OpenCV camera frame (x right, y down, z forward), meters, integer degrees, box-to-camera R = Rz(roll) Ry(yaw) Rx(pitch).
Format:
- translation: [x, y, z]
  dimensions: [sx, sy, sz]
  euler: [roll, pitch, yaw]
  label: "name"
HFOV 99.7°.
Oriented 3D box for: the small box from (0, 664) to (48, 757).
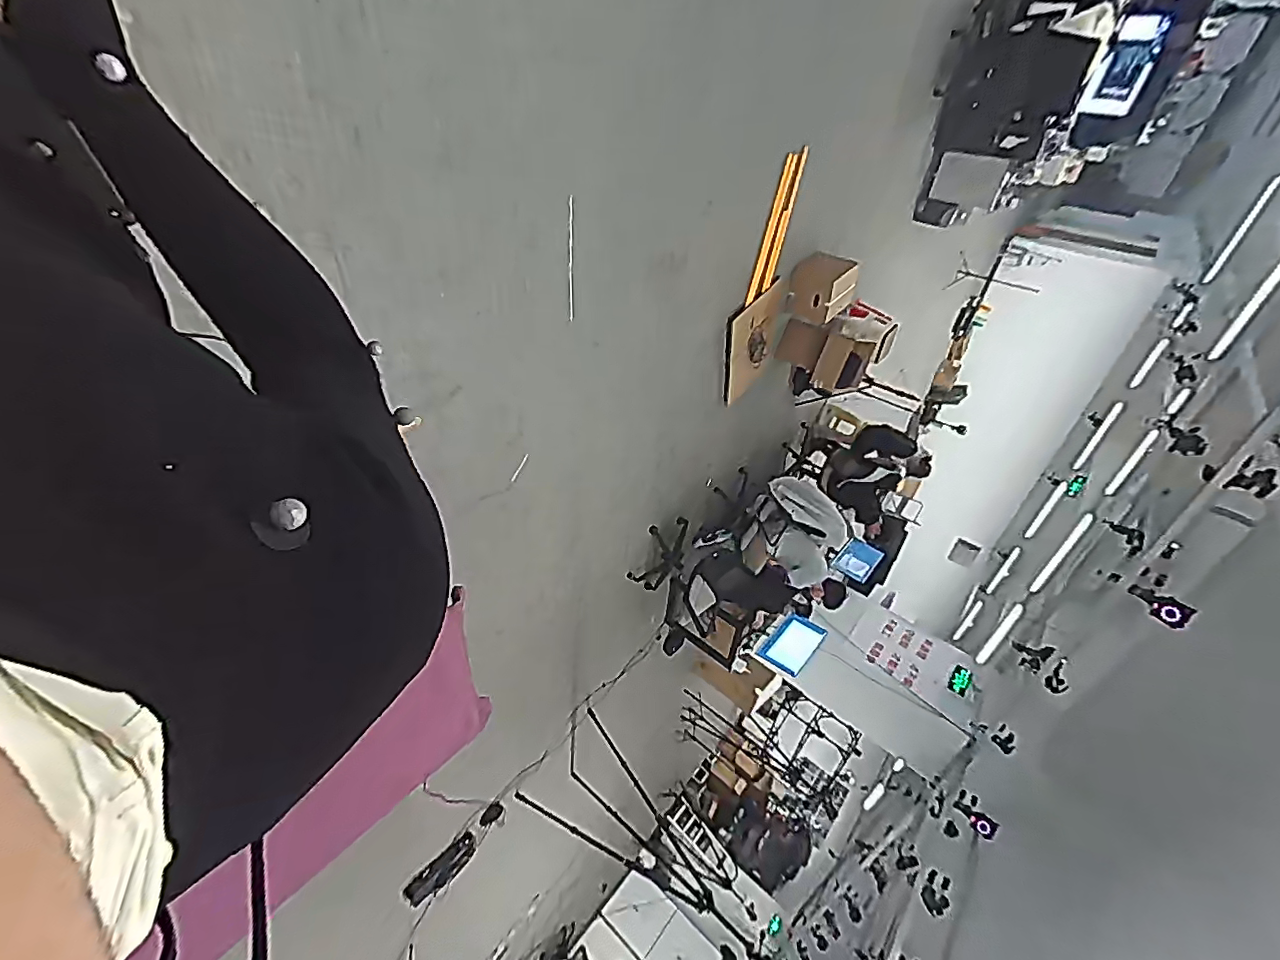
- translation: [-1.550, 0.546, 1.247]
  dimensions: [0.179, 0.176, 0.168]
  euler: [-35, 143, -37]
  label: "small box"
